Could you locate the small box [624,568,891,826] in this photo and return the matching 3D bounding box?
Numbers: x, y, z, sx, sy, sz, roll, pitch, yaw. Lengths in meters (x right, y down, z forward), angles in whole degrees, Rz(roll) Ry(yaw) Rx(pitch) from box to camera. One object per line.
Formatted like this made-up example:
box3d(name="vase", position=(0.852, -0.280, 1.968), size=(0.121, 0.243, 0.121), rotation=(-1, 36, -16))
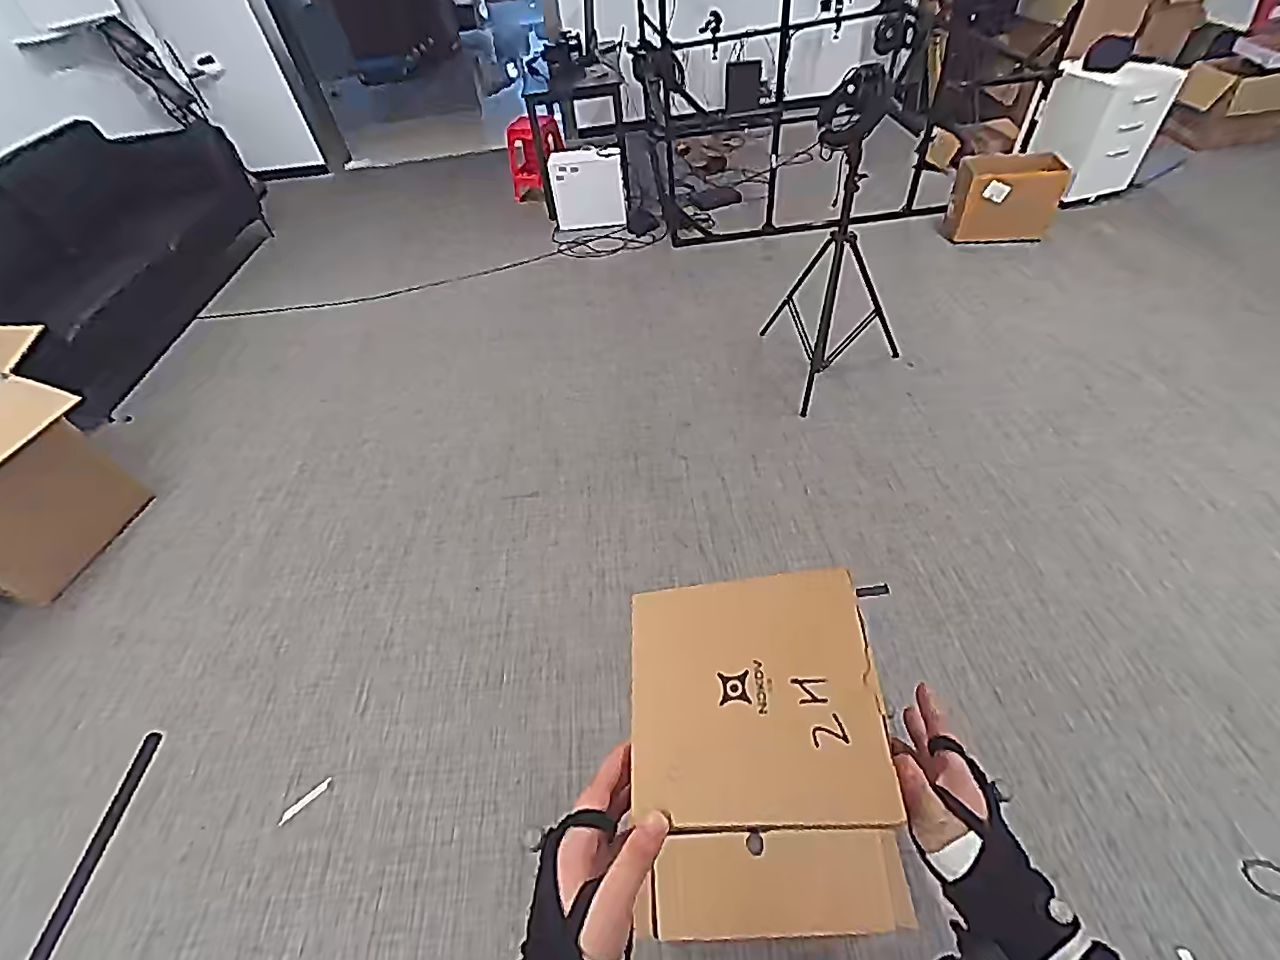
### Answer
box3d(name="small box", position=(0.097, 0.191, 0.452), size=(0.179, 0.176, 0.168), rotation=(-11, 56, 15))
